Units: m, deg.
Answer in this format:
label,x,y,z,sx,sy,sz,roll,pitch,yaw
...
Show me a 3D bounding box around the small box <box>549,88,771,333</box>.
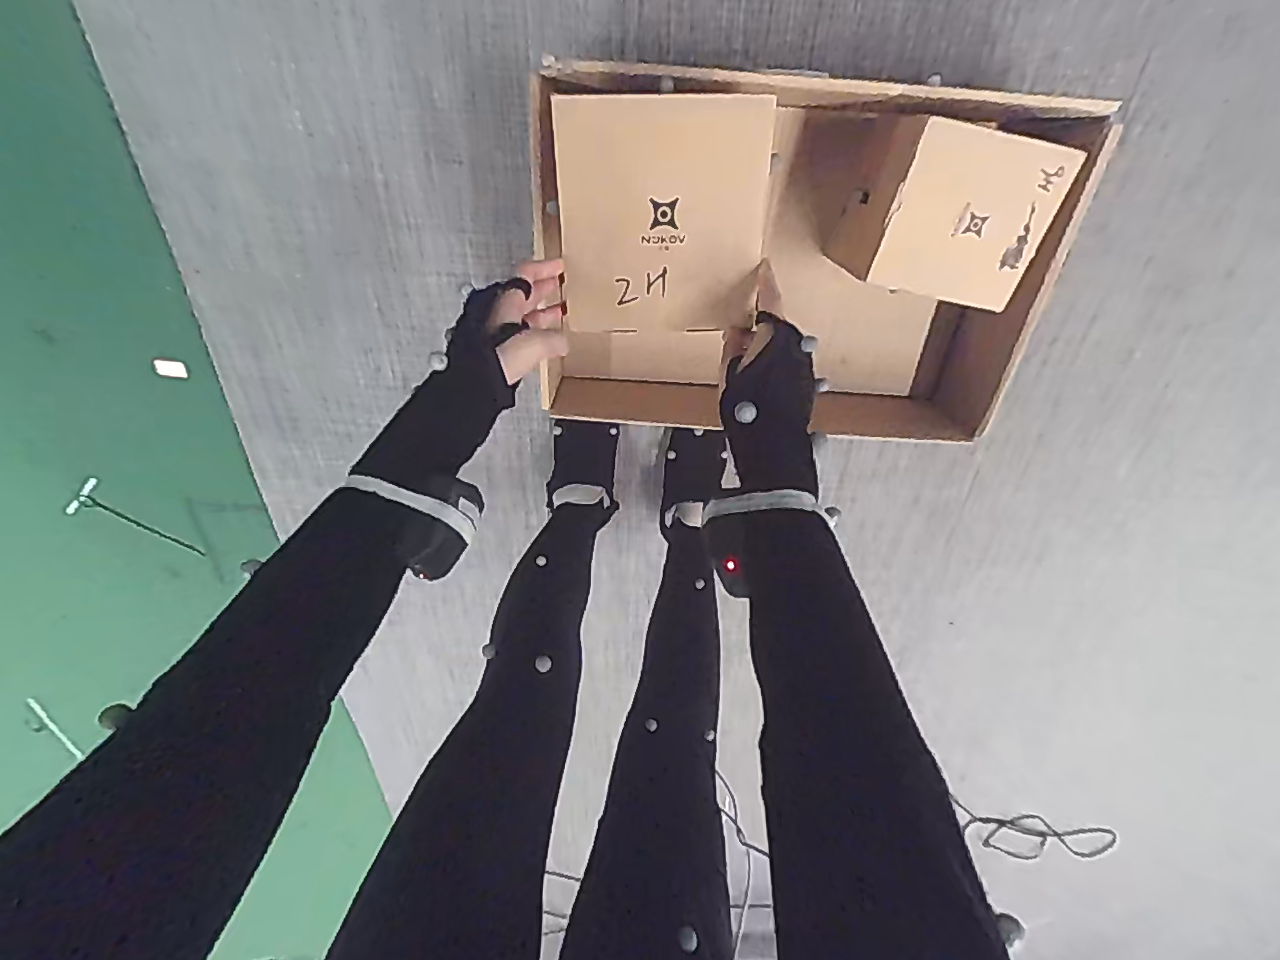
label,x,y,z,sx,sy,sz,roll,pitch,yaw
small box,0.012,-0.248,0.501,0.168,0.176,0.179,1,123,0
